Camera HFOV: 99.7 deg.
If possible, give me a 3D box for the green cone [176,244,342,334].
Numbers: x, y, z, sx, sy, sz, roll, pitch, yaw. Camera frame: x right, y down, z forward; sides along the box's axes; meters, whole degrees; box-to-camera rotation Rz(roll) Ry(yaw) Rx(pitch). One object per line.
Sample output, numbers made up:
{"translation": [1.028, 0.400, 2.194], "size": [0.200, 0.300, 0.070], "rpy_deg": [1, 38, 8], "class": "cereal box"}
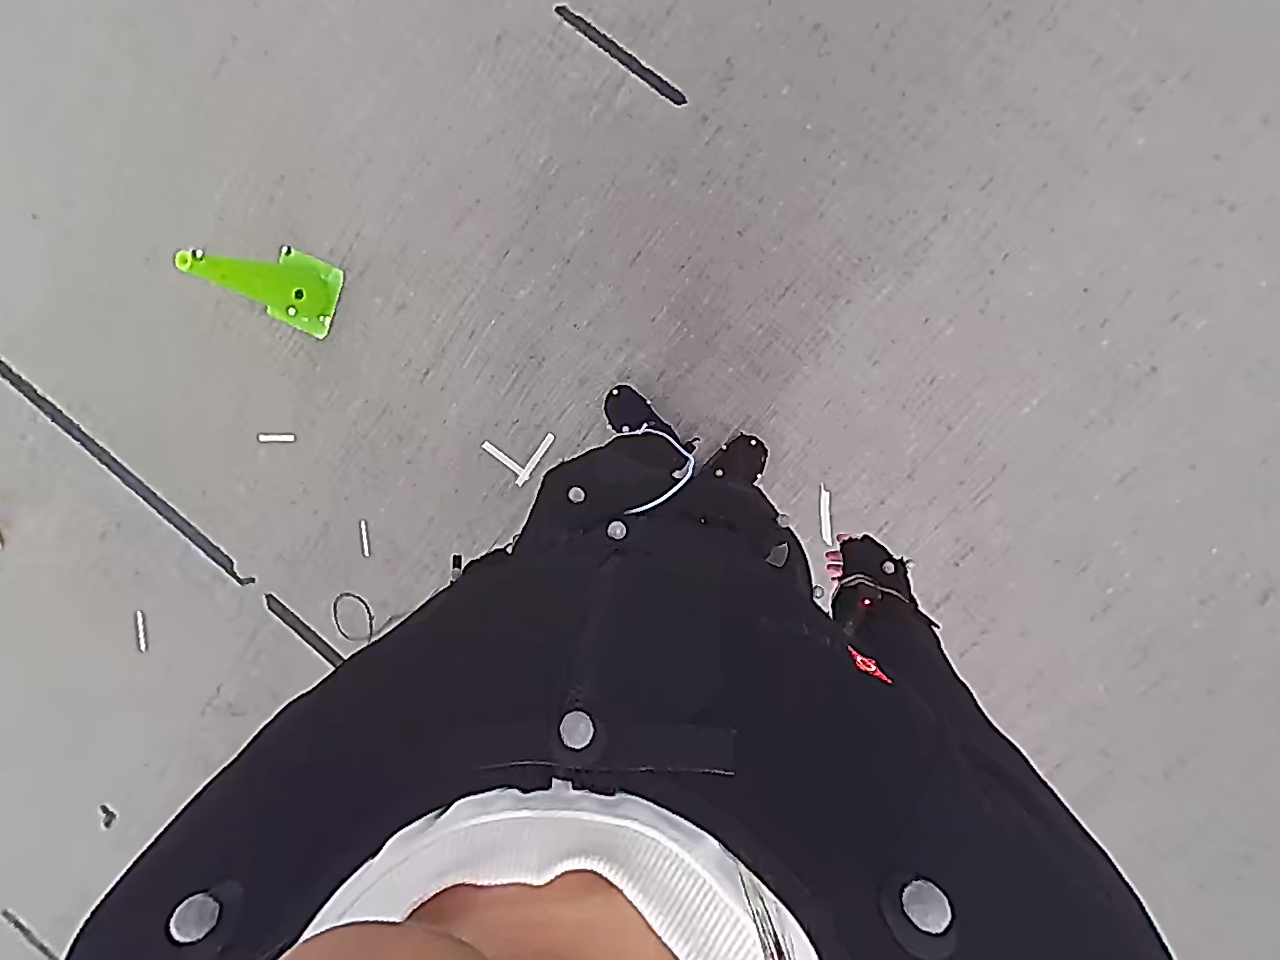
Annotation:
{"translation": [-0.966, -0.506, 1.342], "size": [0.202, 0.368, 0.200], "rpy_deg": [24, 102, 4], "class": "green cone"}
